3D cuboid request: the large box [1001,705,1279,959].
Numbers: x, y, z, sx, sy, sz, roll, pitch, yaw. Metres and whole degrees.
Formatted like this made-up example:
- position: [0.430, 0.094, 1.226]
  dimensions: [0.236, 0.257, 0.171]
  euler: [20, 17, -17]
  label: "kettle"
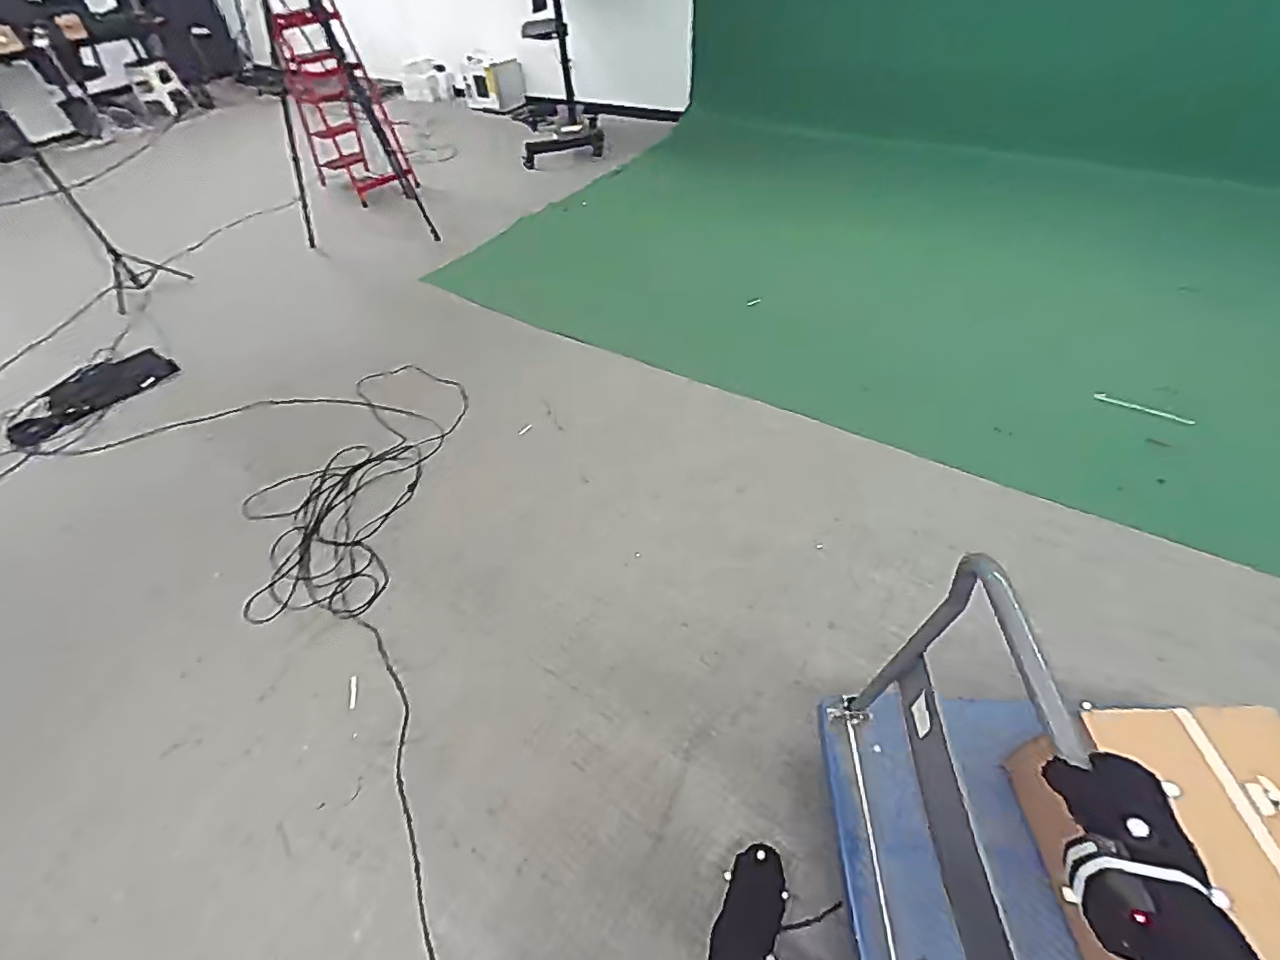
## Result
- position: [0.892, 0.630, 0.884]
  dimensions: [0.320, 0.320, 0.408]
  euler: [-2, 47, 2]
  label: "large box"
